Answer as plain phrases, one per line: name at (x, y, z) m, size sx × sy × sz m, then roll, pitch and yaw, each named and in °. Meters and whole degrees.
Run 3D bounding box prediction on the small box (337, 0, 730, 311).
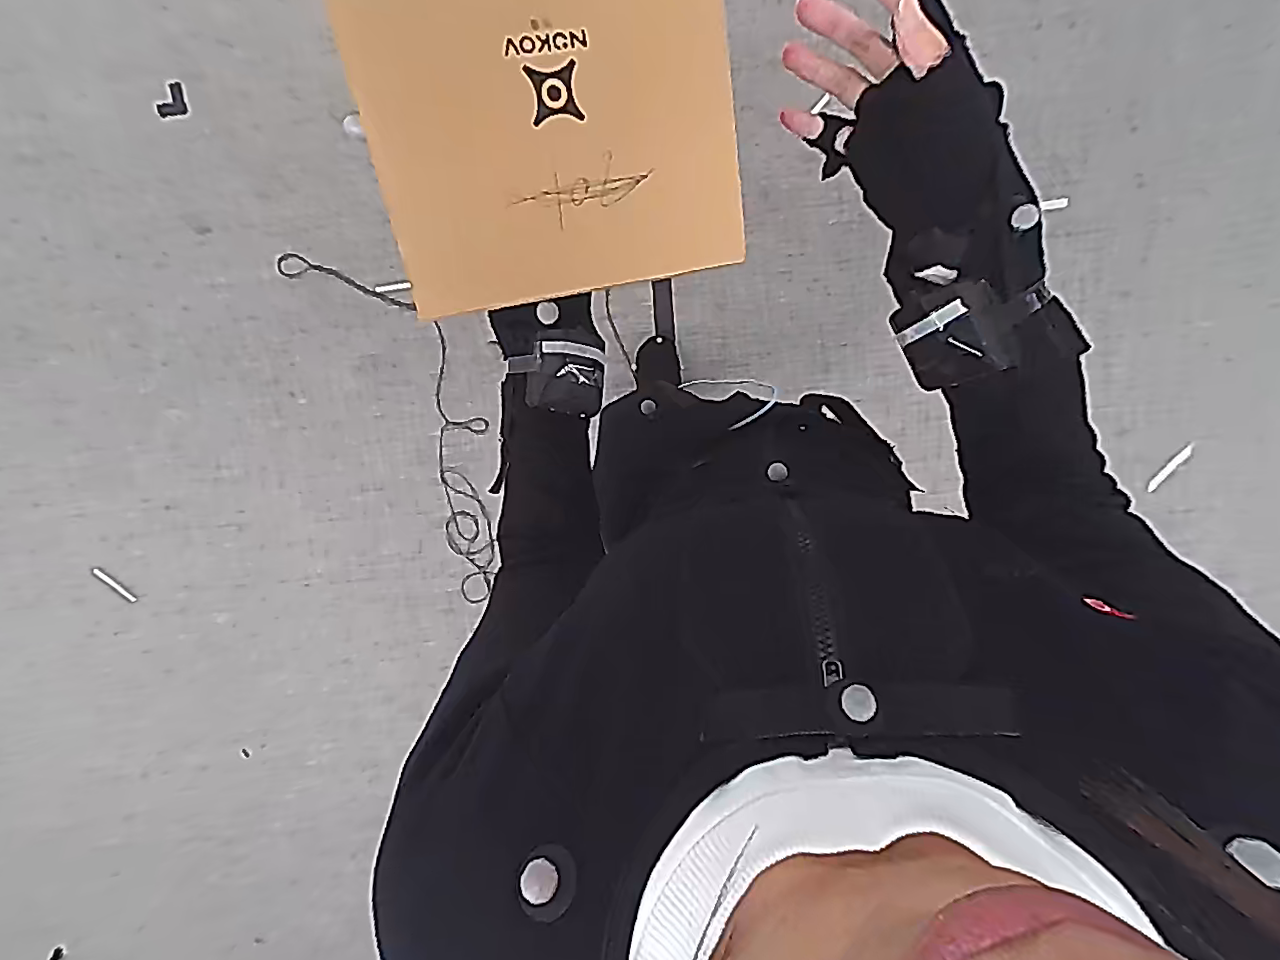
small box at (-0.060, -0.204, 0.326) m, size 0.168 × 0.176 × 0.179 m, roll -13°, pitch 110°, yaw -8°
